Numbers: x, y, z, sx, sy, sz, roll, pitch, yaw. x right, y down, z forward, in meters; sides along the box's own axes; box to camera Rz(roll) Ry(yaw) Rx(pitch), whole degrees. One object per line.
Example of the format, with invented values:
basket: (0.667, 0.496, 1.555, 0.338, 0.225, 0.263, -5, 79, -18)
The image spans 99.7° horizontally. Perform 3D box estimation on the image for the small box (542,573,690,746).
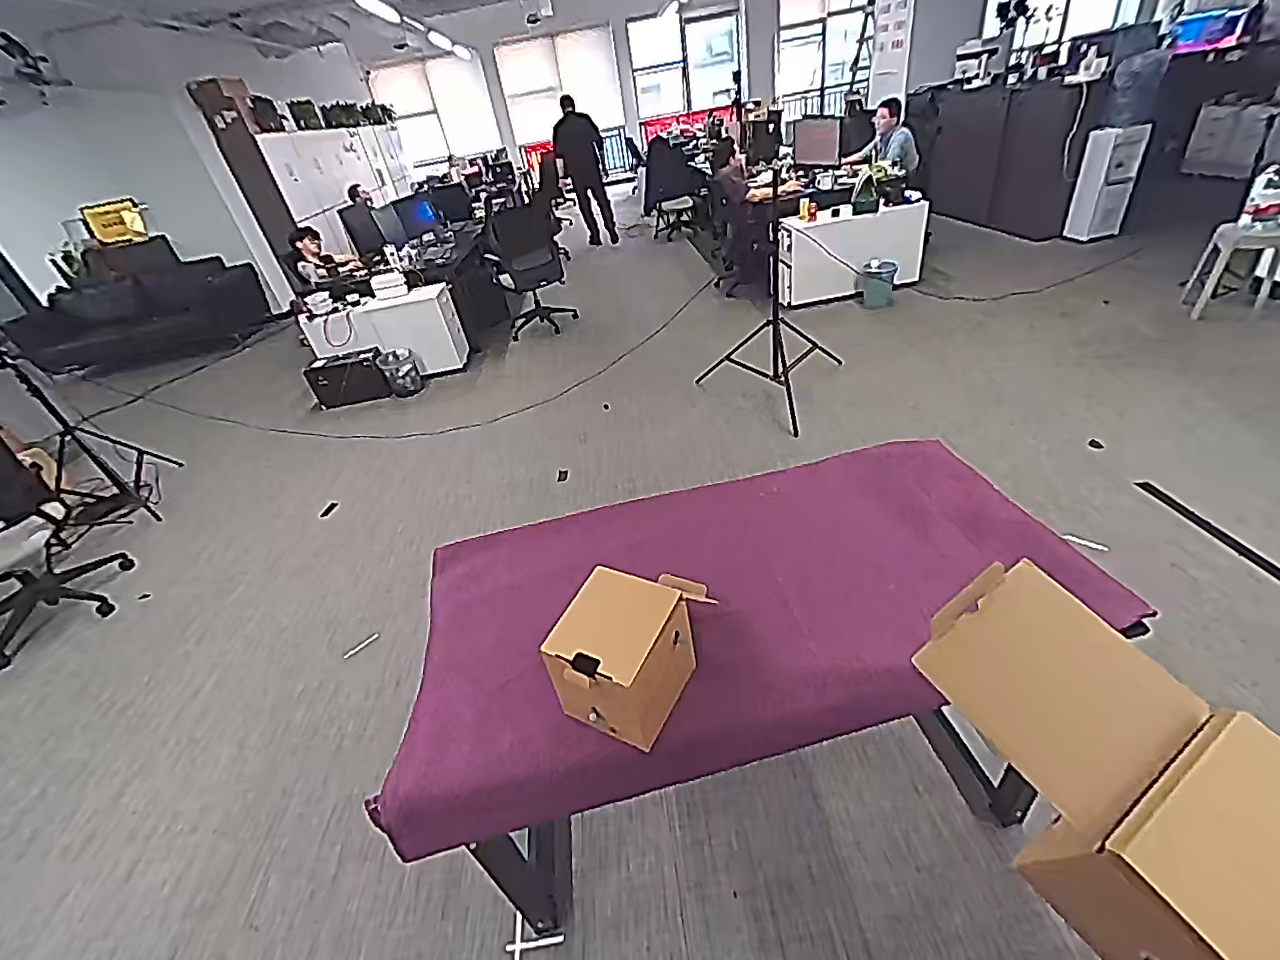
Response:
small box: (-0.029, 0.288, 0.881, 0.168, 0.176, 0.179, 11, 39, 30)
